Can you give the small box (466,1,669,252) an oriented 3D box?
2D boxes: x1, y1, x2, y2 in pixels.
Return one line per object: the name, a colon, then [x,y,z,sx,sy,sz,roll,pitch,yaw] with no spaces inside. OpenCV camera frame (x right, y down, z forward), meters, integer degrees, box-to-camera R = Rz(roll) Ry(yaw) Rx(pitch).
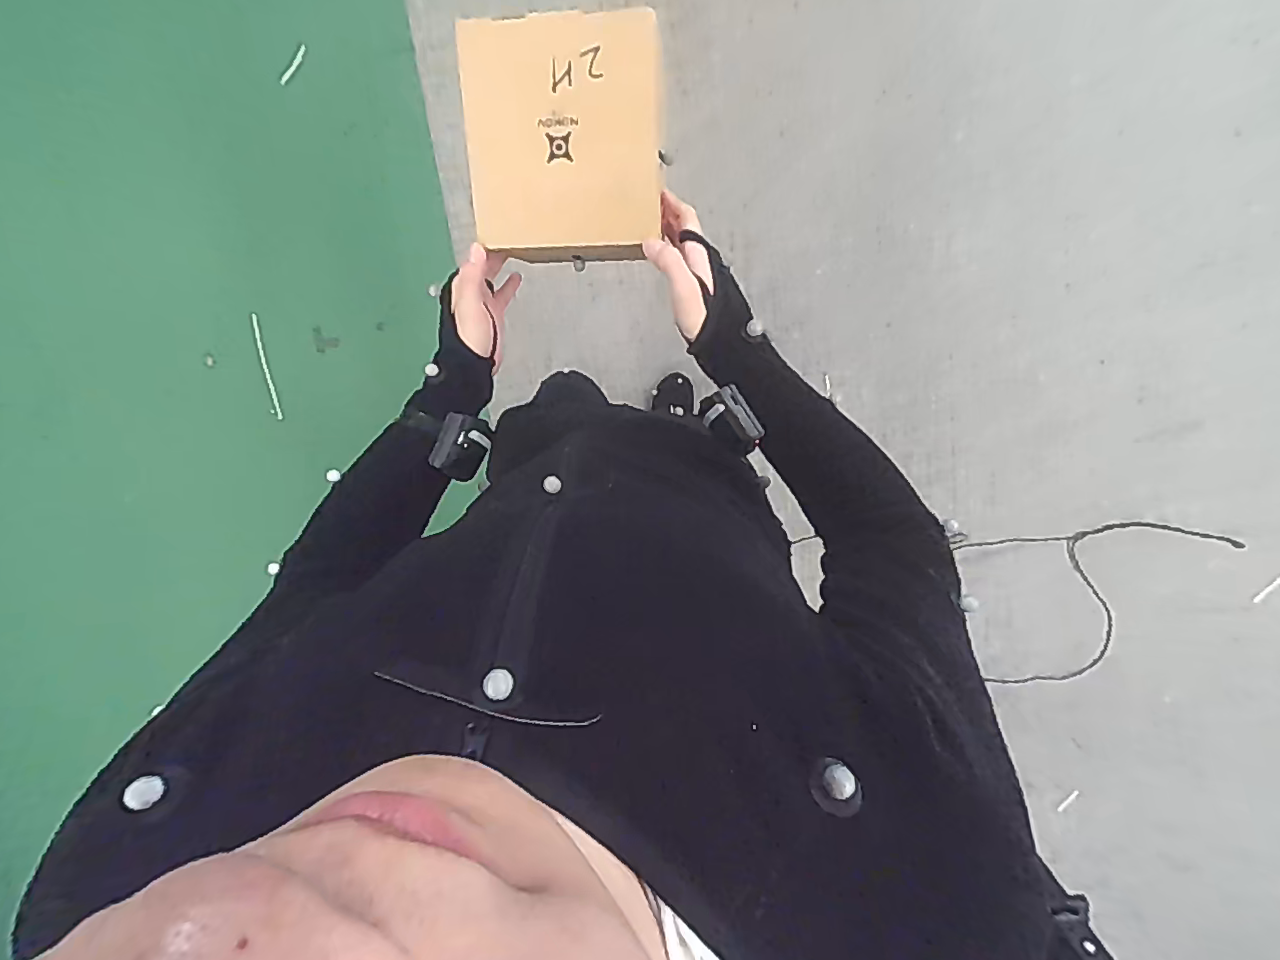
small box: [-0.056,-0.327,0.542,0.168,0.176,0.179,0,108,5]
